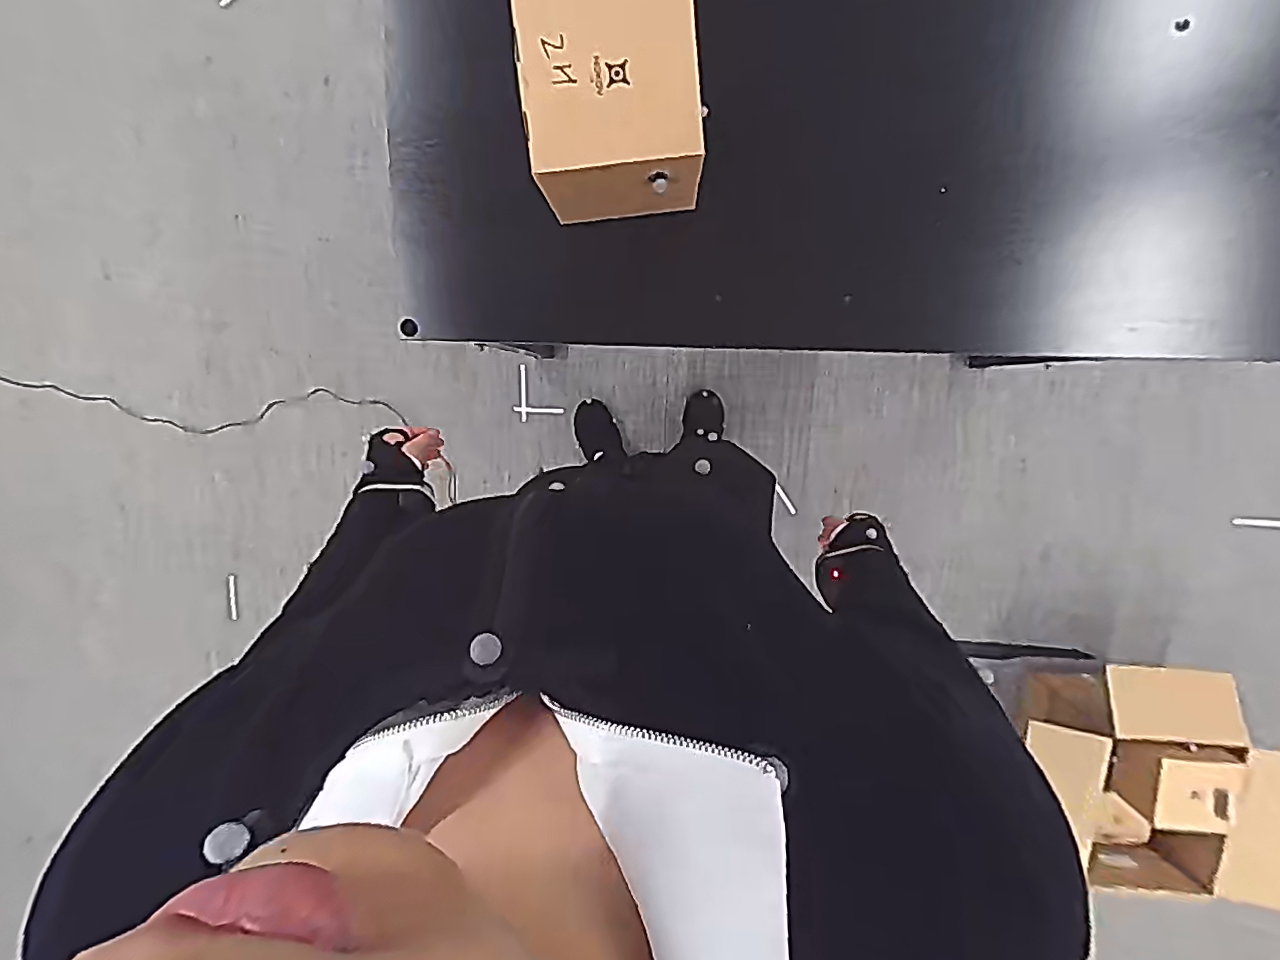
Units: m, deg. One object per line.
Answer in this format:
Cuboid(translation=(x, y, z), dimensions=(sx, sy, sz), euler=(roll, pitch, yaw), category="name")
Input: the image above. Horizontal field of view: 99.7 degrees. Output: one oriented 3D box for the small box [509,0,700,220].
Cuboid(translation=(-0.031, -0.409, 0.608), dimensions=(0.179, 0.176, 0.168), euler=(-5, 99, 4), category="small box")
